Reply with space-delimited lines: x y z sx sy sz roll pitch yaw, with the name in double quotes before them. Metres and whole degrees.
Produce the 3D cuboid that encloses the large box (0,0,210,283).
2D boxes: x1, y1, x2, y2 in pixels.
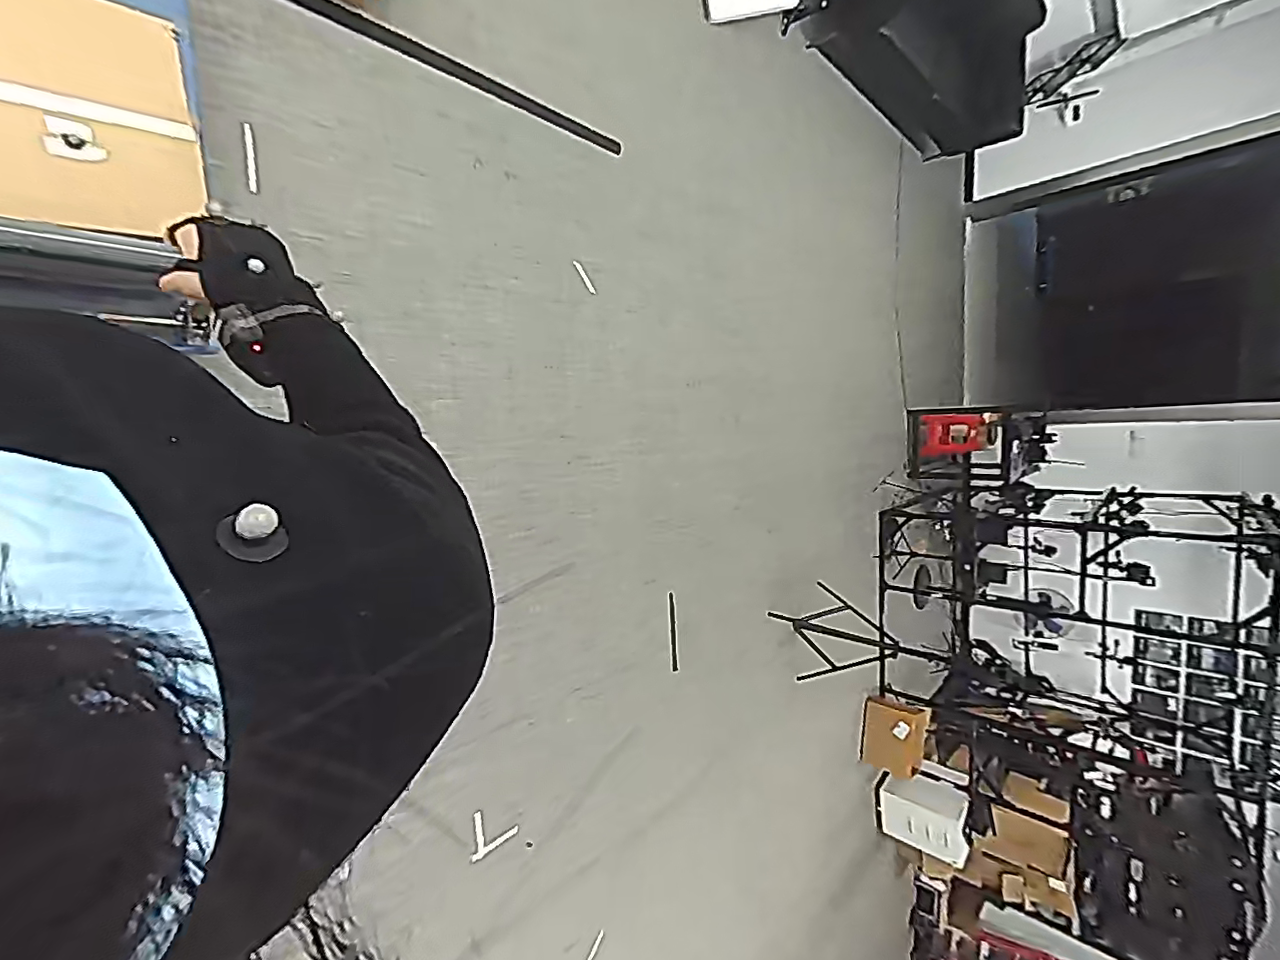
"large box" -0.925 -0.486 0.772 0.408 0.320 0.320 -14 103 -47
